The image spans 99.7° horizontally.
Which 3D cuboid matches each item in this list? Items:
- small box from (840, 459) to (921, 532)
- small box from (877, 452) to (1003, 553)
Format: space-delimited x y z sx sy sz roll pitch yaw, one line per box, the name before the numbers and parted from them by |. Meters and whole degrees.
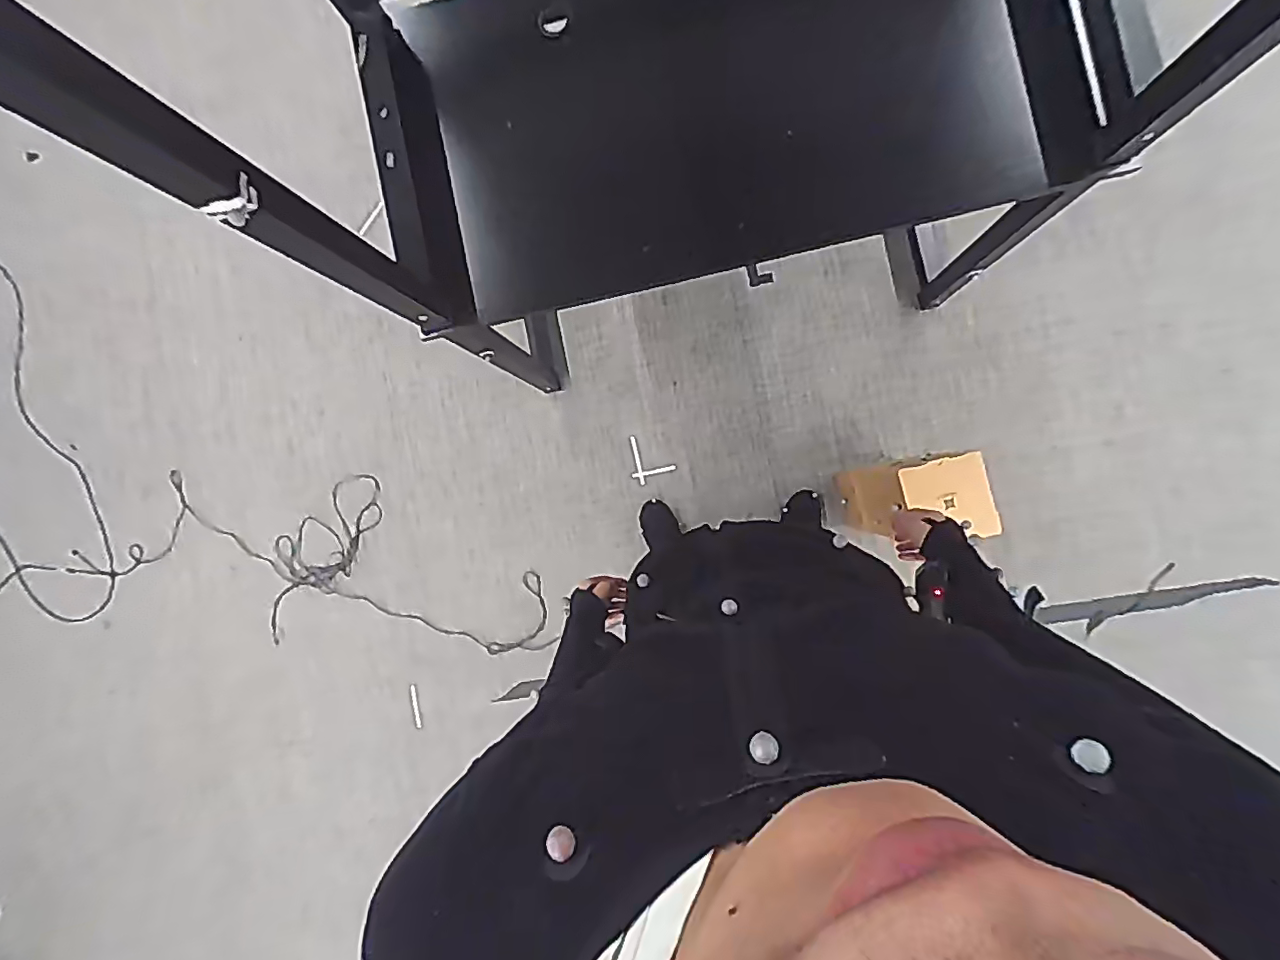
small box | 0.673 0.040 1.491 0.179 0.176 0.168 -13 88 8
small box | 0.635 0.044 1.166 0.168 0.176 0.179 -15 88 7
